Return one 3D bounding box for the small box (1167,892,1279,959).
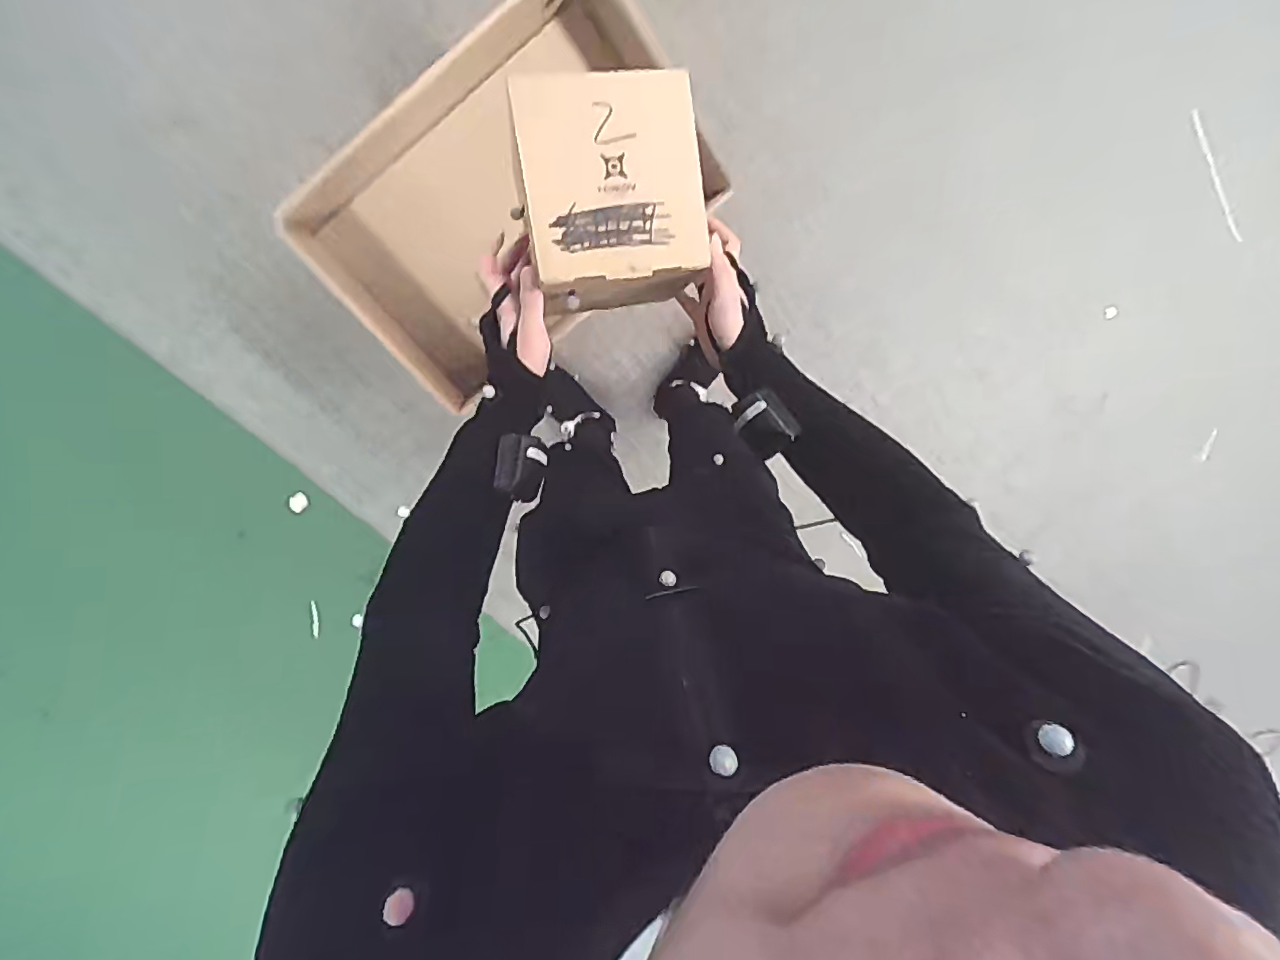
[{"bbox_3d":[1.613,1.280,1.480,0.168,0.176,0.179,-44,111,7],"label":"small box"}]
